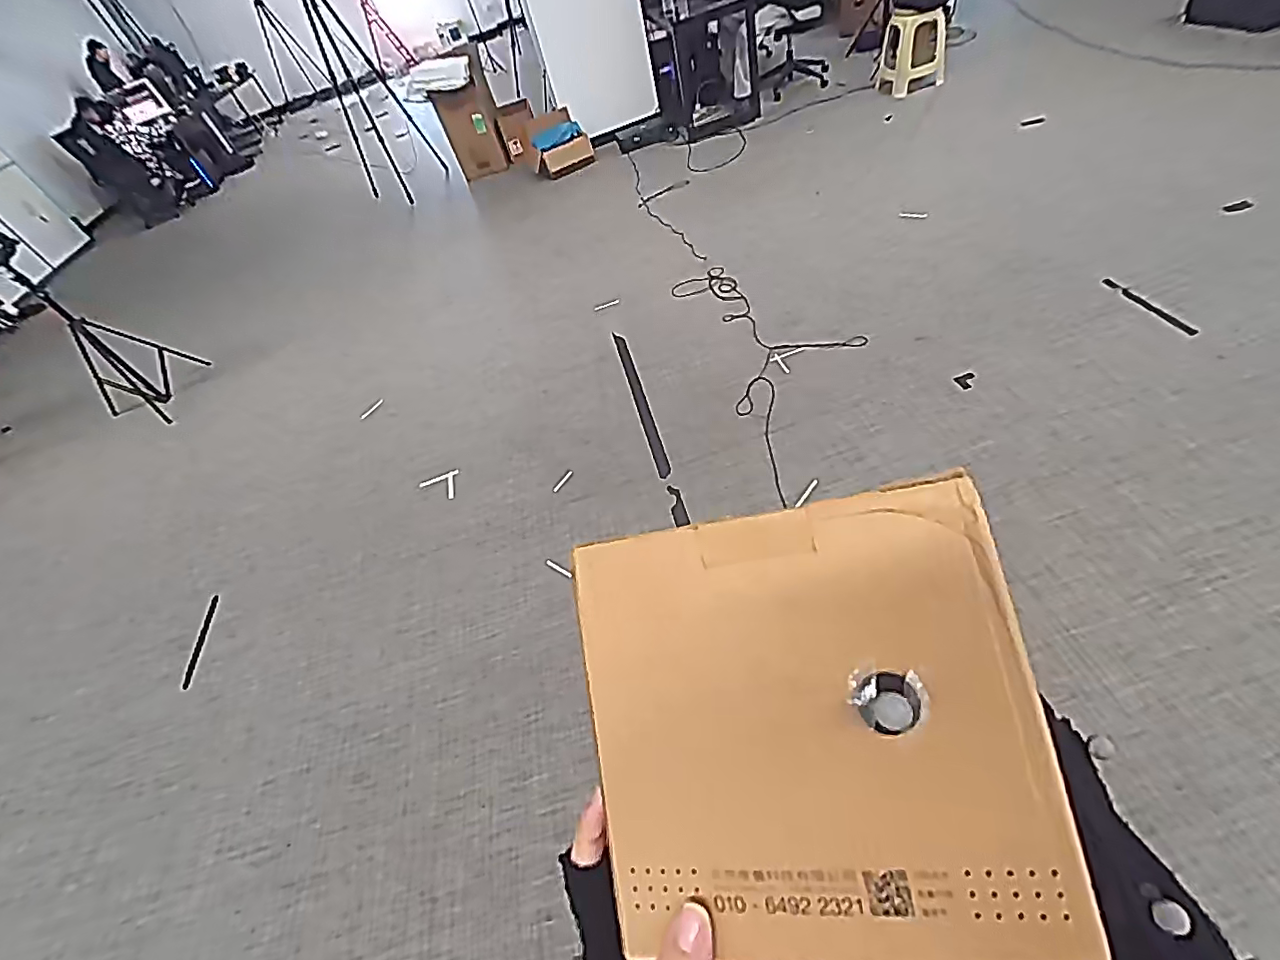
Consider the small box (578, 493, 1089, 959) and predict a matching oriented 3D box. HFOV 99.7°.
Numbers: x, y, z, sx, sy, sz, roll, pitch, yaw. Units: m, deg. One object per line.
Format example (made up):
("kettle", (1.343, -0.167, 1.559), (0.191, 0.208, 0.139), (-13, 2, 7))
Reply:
("small box", (0.088, 0.112, 0.285), (0.168, 0.179, 0.176), (-12, 79, 18))
